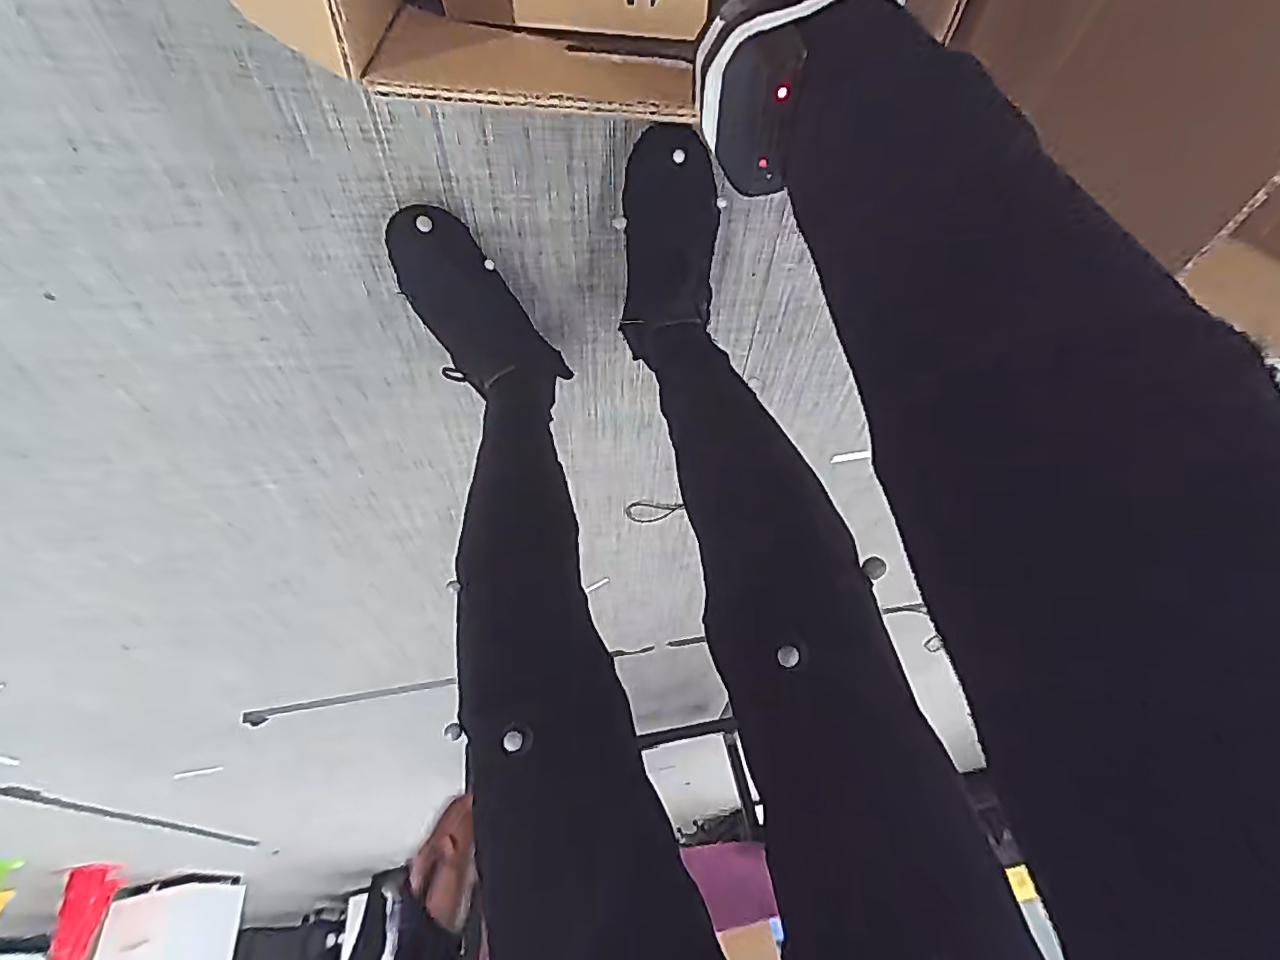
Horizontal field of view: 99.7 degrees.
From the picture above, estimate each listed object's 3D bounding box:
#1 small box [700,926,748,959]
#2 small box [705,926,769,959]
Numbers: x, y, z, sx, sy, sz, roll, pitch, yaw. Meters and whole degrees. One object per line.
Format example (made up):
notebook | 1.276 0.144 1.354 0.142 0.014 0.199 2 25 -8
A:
small box | 0.331 1.756 1.976 0.179 0.176 0.168 -8 140 -7
small box | 0.329 1.602 1.789 0.179 0.176 0.168 -6 140 -9
